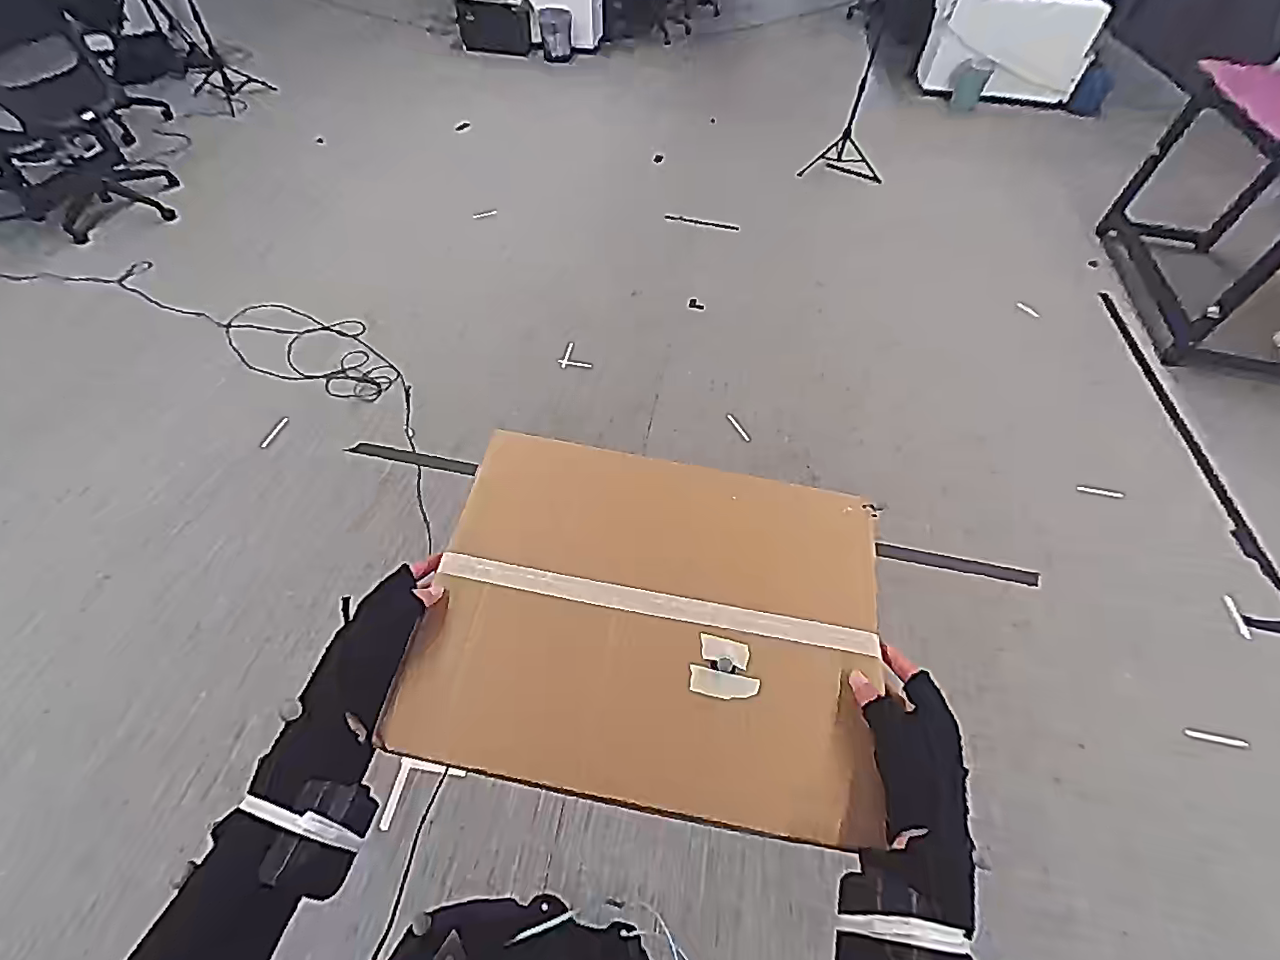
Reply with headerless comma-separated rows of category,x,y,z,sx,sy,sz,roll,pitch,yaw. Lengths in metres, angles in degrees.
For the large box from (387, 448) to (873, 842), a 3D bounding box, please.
large box,0.002,0.201,0.632,0.408,0.320,0.320,11,59,2
